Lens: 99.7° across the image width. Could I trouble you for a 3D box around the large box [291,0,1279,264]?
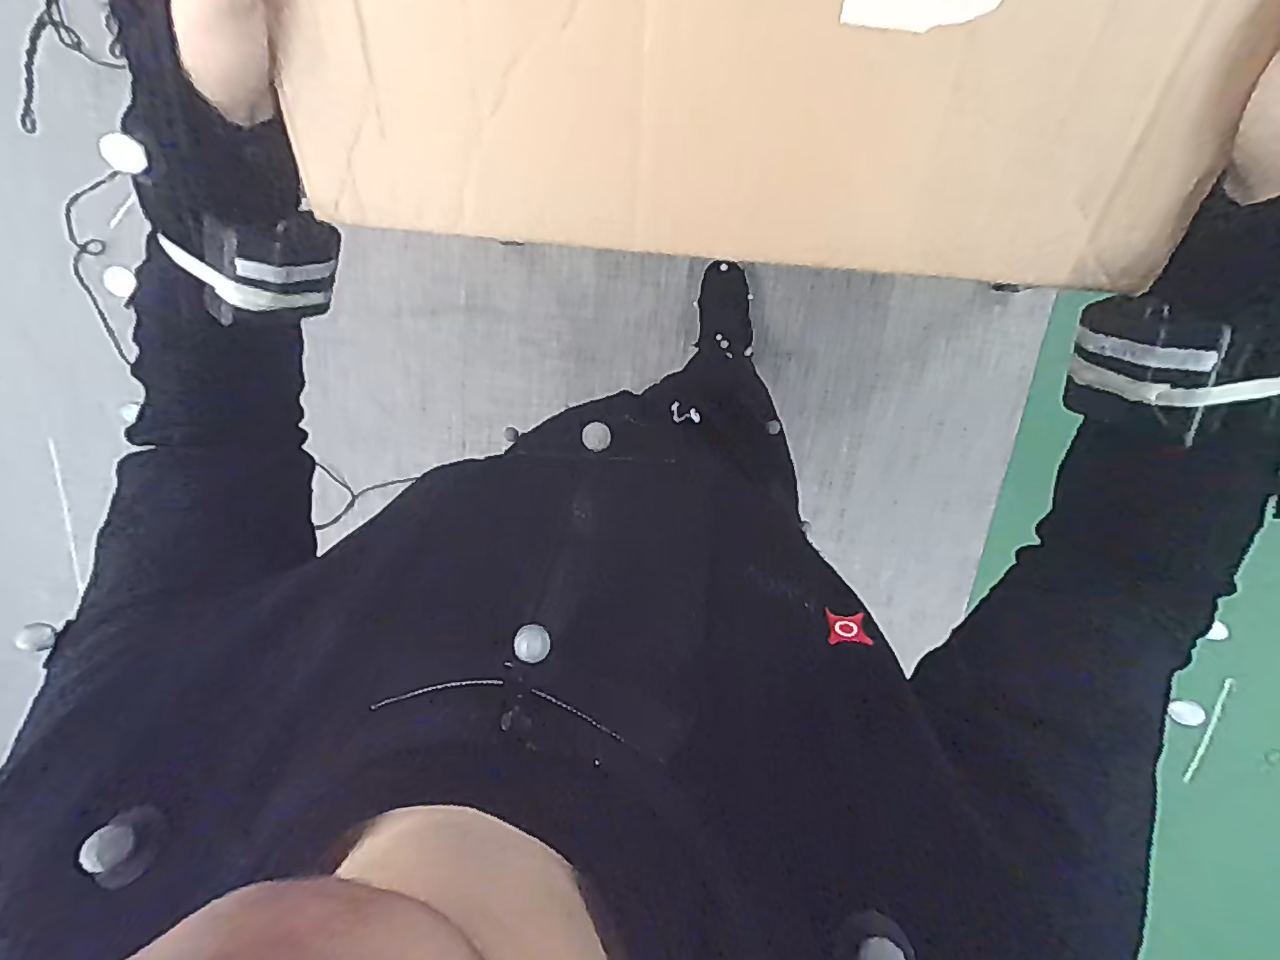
[{"bbox_3d":[0.062,-0.330,0.305,0.408,0.320,0.320,5,127,3],"label":"large box"}]
